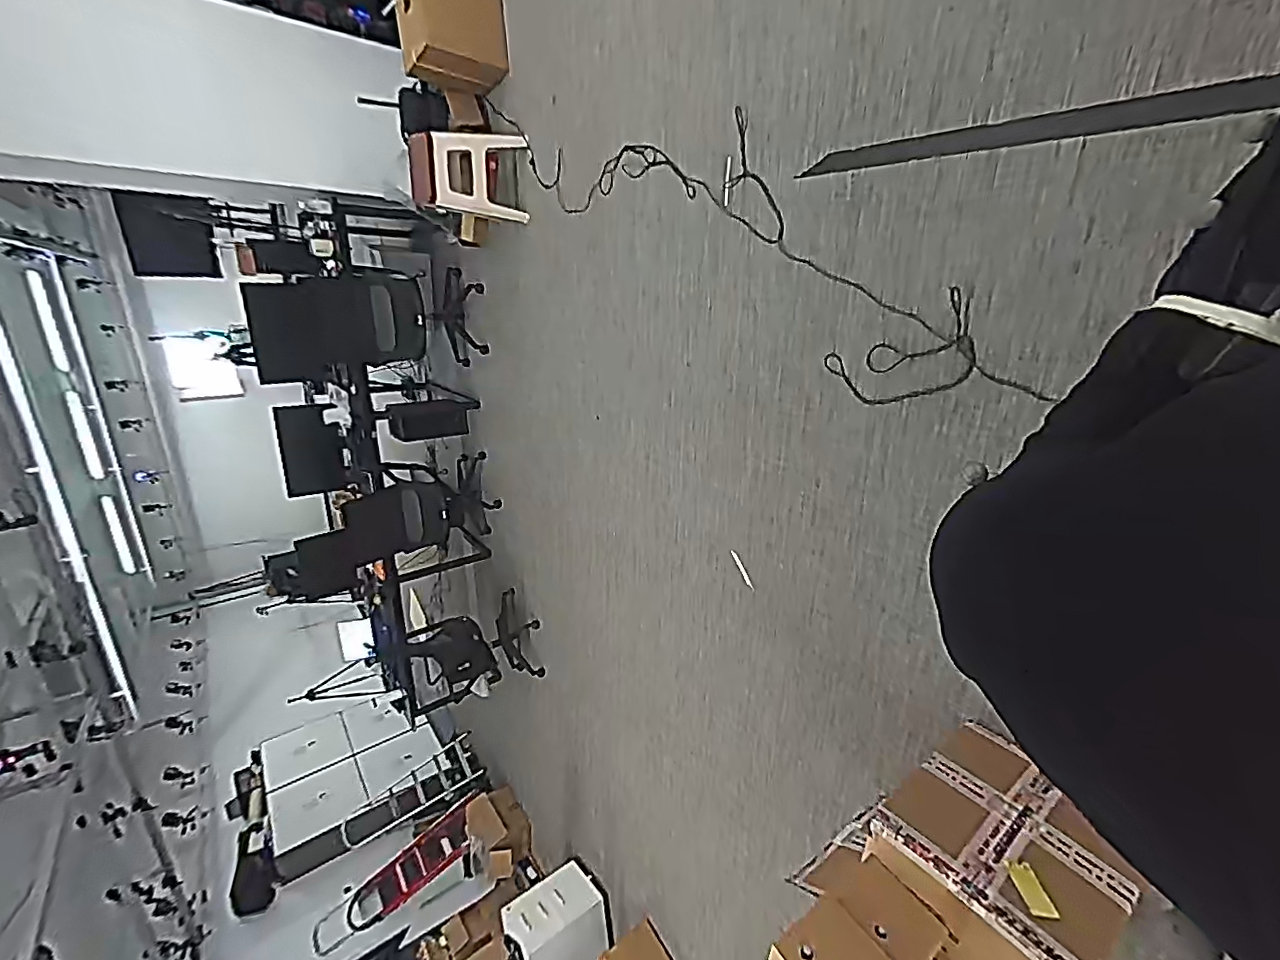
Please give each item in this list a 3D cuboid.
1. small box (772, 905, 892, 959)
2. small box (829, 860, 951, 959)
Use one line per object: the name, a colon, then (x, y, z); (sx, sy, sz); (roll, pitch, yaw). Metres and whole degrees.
small box: (0.358, 0.934, 0.991); (0.179, 0.176, 0.168); (30, 123, 49)
small box: (0.488, 0.931, 1.095); (0.179, 0.176, 0.168); (34, 125, 47)
